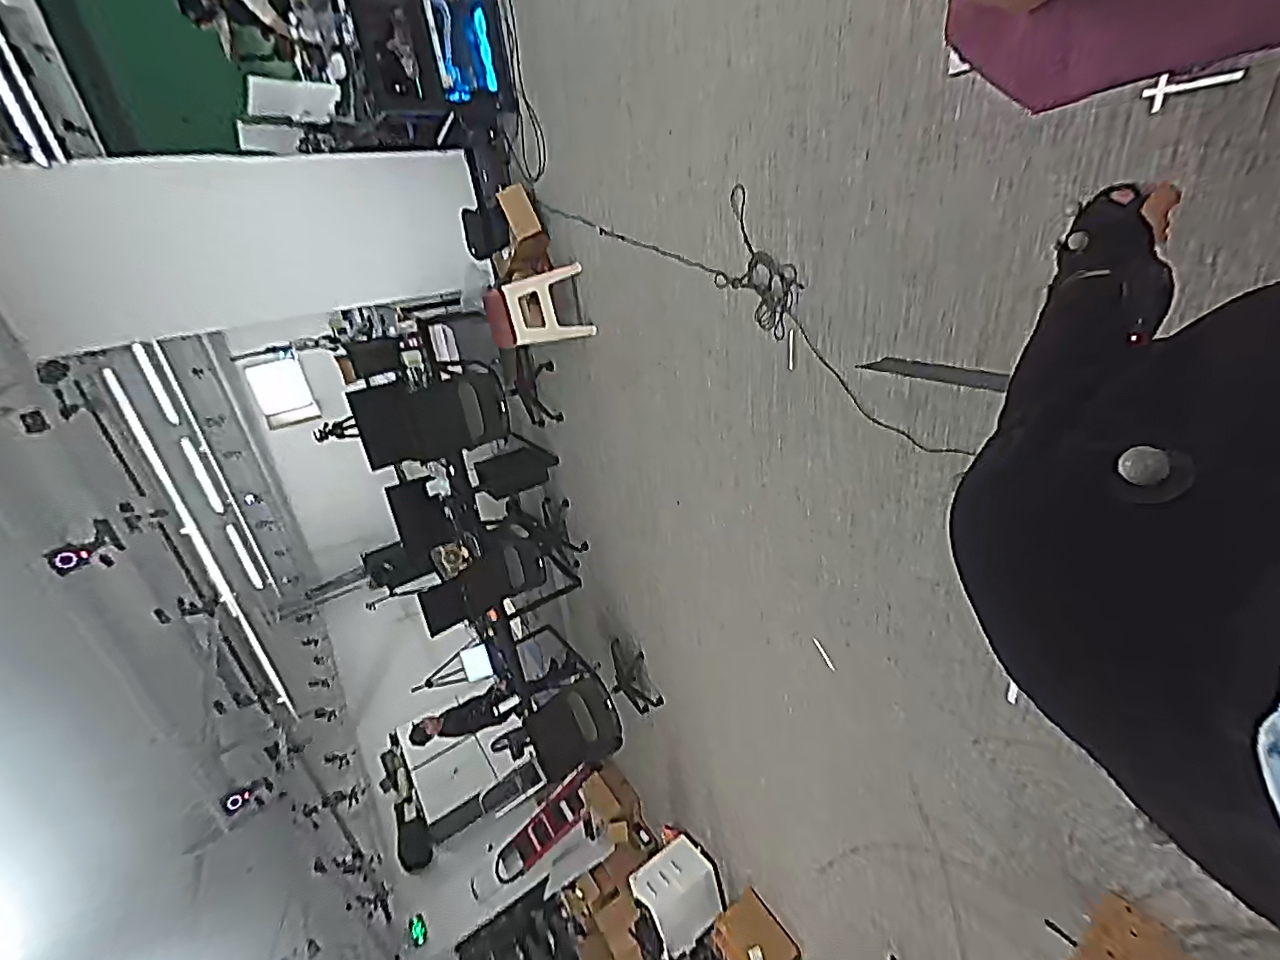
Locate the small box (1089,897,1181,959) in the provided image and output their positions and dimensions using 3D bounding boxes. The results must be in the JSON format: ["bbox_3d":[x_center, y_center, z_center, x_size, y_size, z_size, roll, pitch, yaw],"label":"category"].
[{"bbox_3d":[1.418,1.371,1.562,0.168,0.176,0.179,23,129,53],"label":"small box"}]

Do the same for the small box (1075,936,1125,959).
[{"bbox_3d":[1.285,1.427,1.485,0.168,0.176,0.179,24,129,51],"label":"small box"}]
